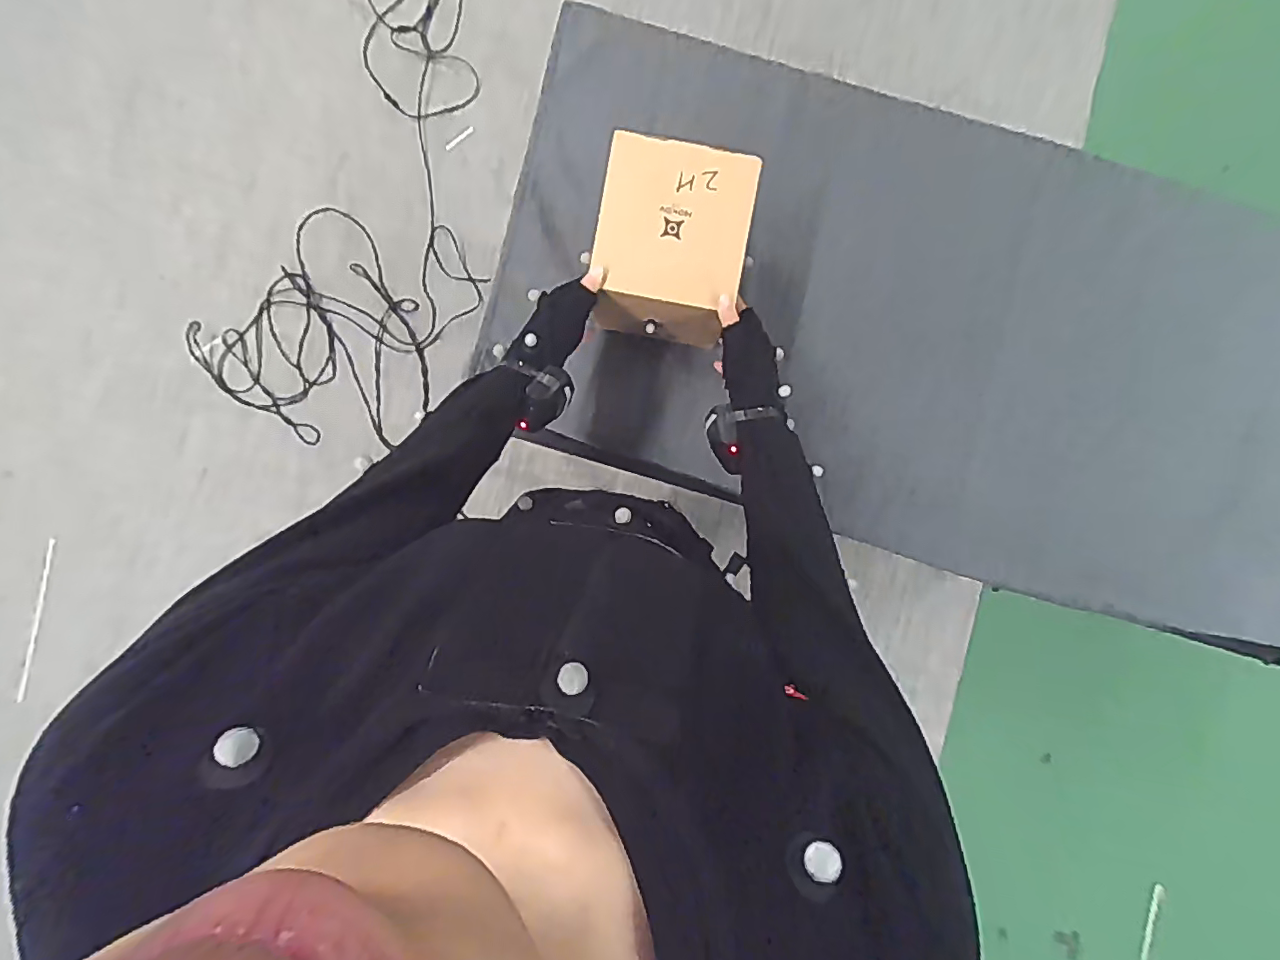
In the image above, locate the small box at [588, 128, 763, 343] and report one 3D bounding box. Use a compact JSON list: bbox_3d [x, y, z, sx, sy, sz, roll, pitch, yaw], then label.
[{"bbox_3d":[0.037,-0.281,0.665,0.168,0.176,0.179,11,90,-2],"label":"small box"}]
